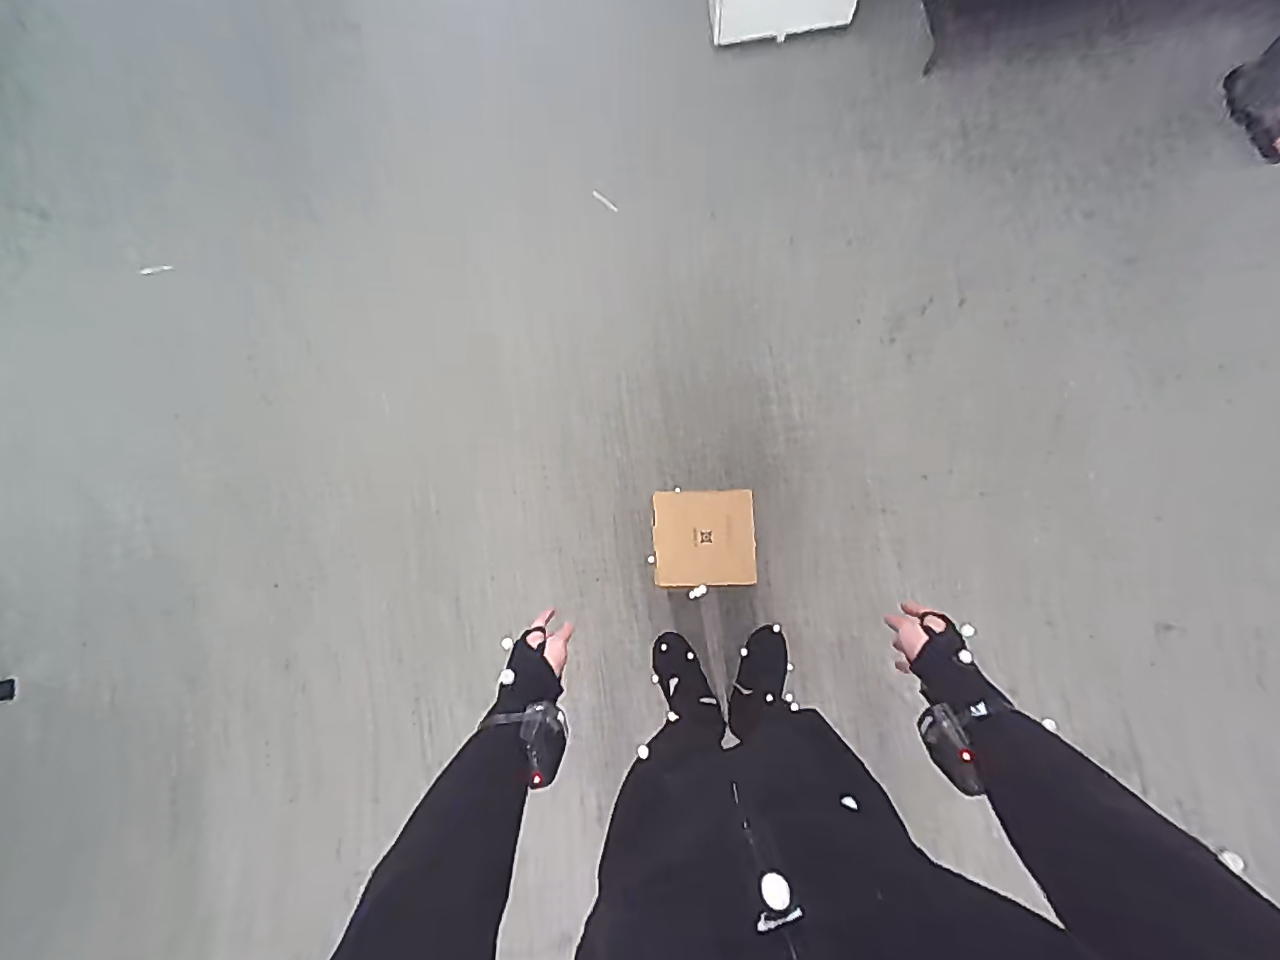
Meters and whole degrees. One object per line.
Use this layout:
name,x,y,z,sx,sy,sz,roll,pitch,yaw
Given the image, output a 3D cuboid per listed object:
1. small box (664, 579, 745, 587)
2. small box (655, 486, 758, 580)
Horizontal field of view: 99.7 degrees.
small box,0.137,0.142,1.179,0.168,0.176,0.179,-1,81,5
small box,0.121,0.105,1.023,0.179,0.176,0.168,-2,81,3
